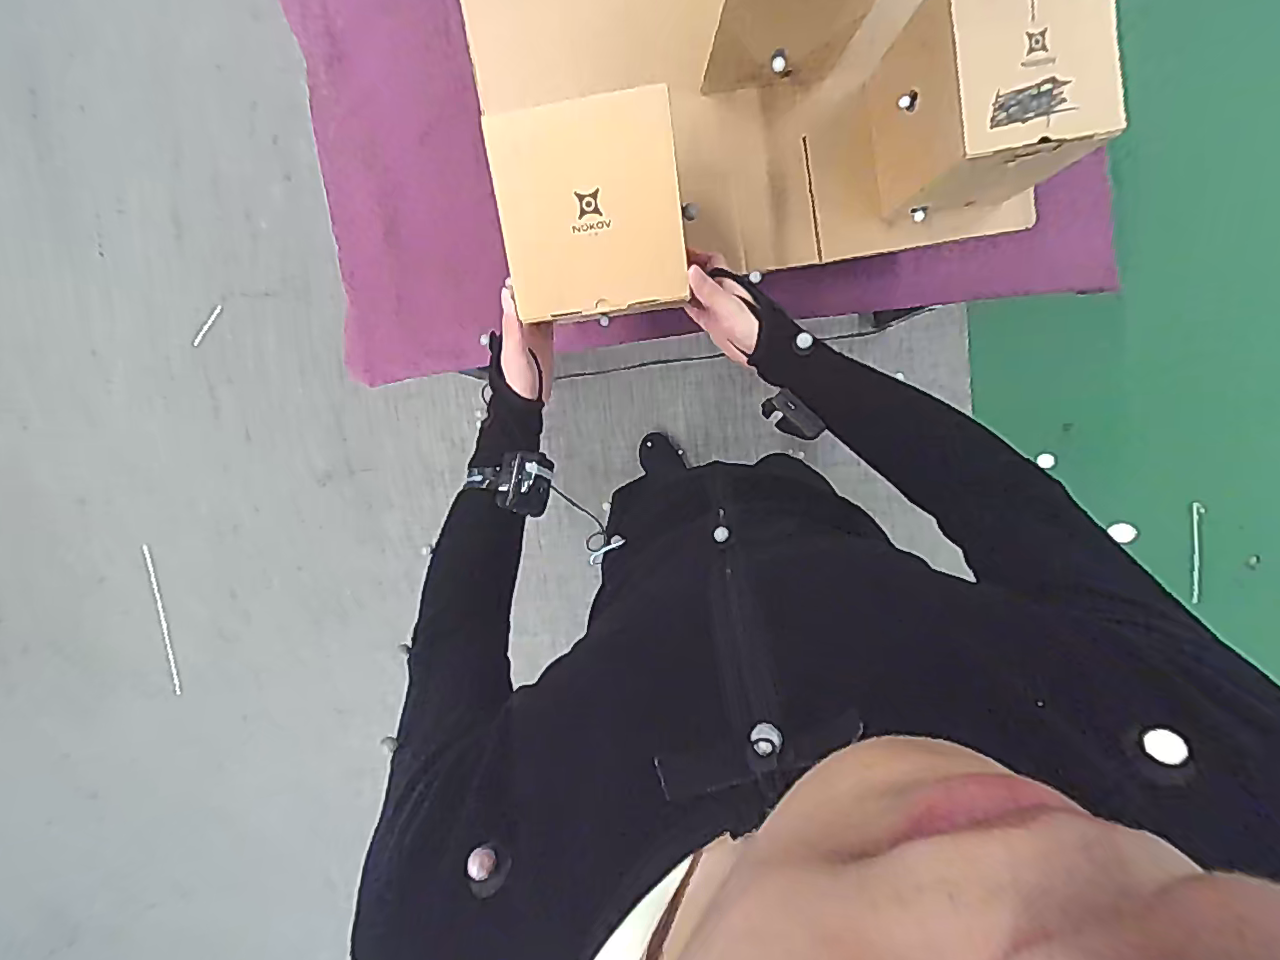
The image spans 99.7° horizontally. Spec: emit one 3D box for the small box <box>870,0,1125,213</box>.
[{"bbox_3d":[0.379,-0.418,0.601,0.168,0.176,0.179,-10,95,-2],"label":"small box"}]

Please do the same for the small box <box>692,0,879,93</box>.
[{"bbox_3d":[0.148,-0.560,0.575,0.168,0.176,0.179,-9,95,-2],"label":"small box"}]
